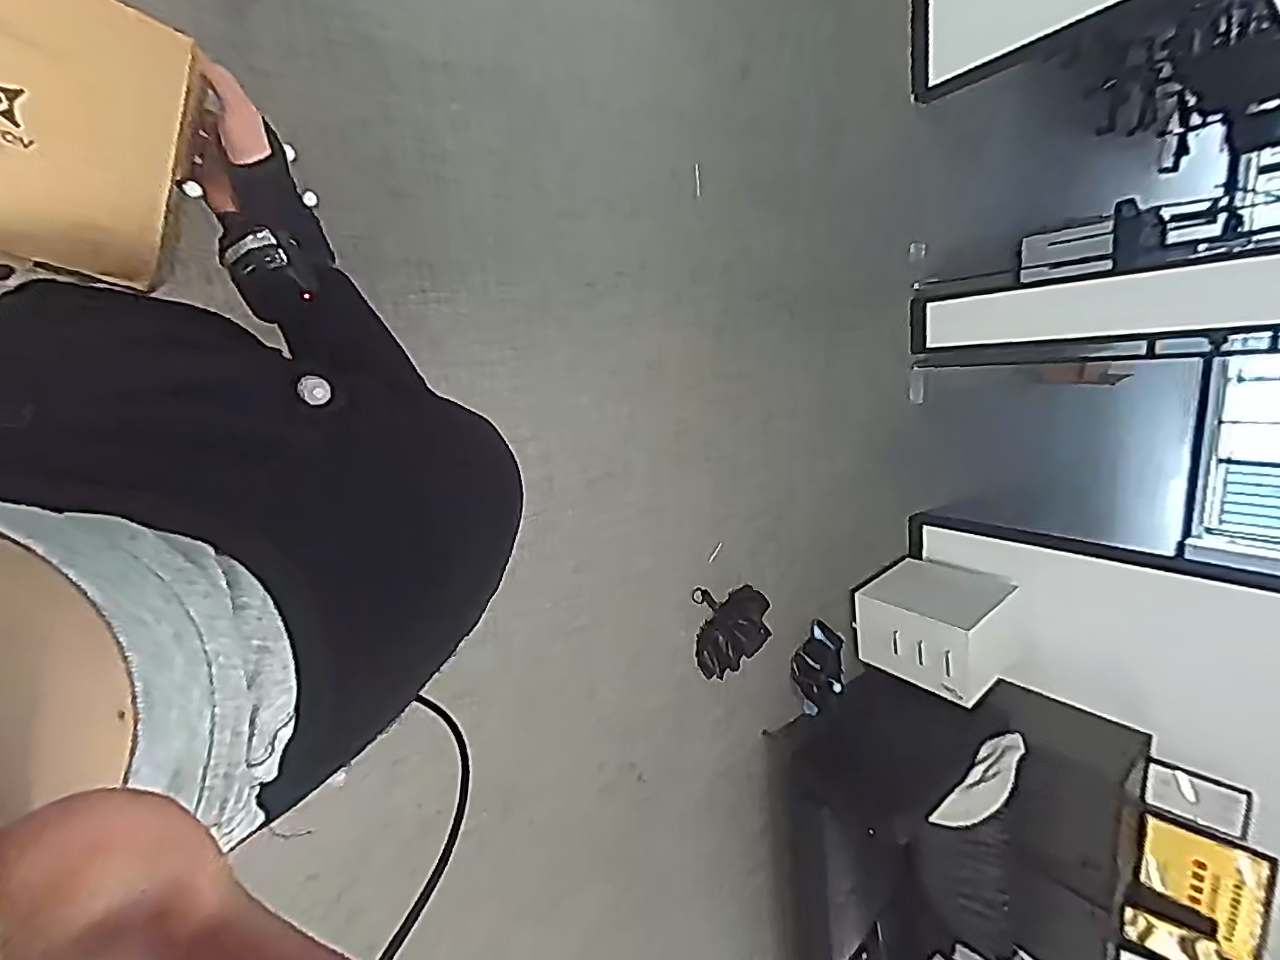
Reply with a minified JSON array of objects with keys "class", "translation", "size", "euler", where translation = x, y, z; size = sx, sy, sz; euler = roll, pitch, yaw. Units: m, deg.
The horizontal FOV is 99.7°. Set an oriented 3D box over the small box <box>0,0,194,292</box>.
[{"class":"small box","translation":[-0.437,-0.256,0.385],"size":[0.168,0.176,0.179],"euler":[10,106,-41]}]
